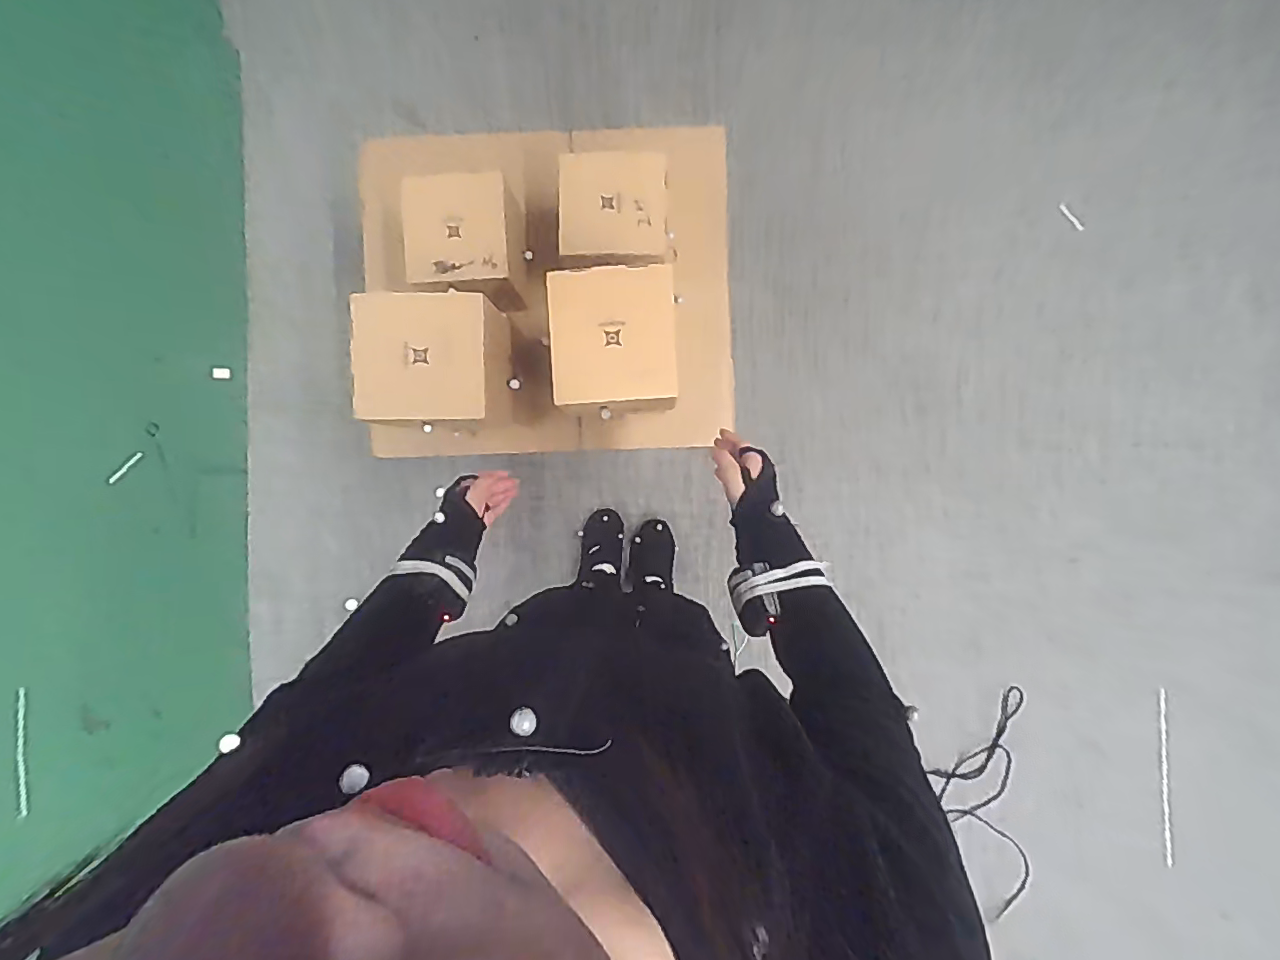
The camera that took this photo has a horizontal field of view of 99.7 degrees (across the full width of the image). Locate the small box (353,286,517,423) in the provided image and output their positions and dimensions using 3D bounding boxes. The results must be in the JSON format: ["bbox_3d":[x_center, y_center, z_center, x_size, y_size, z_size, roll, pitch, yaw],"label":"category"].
[{"bbox_3d":[-0.286,-0.171,0.782,0.179,0.176,0.168,1,92,0],"label":"small box"}]

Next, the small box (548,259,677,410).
[{"bbox_3d":[-0.032,-0.195,0.777,0.168,0.176,0.179,-3,90,2],"label":"small box"}]

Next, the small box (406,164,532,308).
[{"bbox_3d":[-0.289,-0.412,0.941,0.168,0.176,0.179,-3,89,3],"label":"small box"}]
